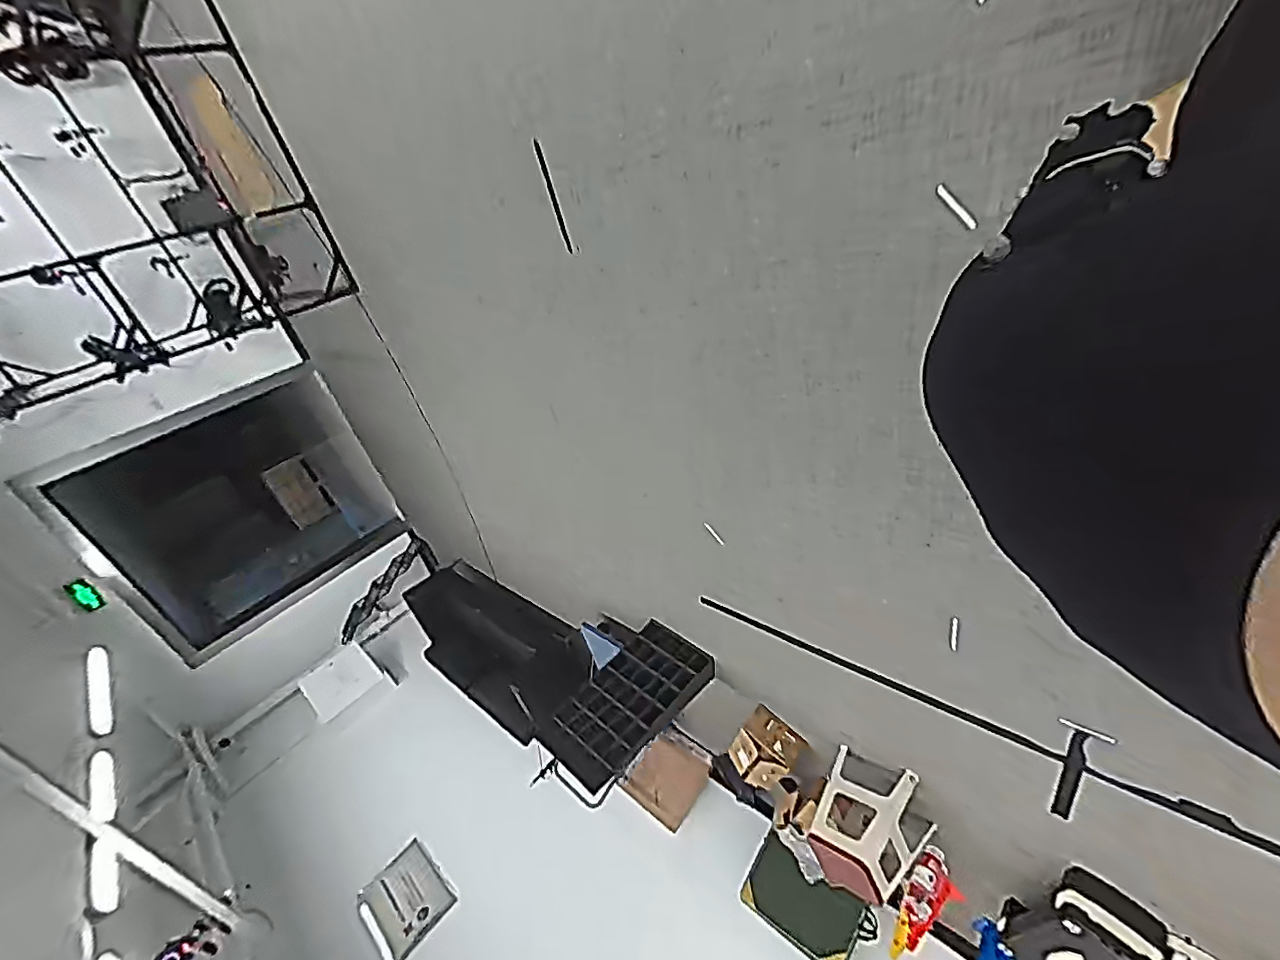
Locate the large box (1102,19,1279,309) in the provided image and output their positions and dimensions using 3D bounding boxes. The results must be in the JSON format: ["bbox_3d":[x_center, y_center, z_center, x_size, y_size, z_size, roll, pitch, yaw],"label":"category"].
[{"bbox_3d":[0.955,-0.497,0.735,0.408,0.320,0.320,-16,108,55],"label":"large box"}]
